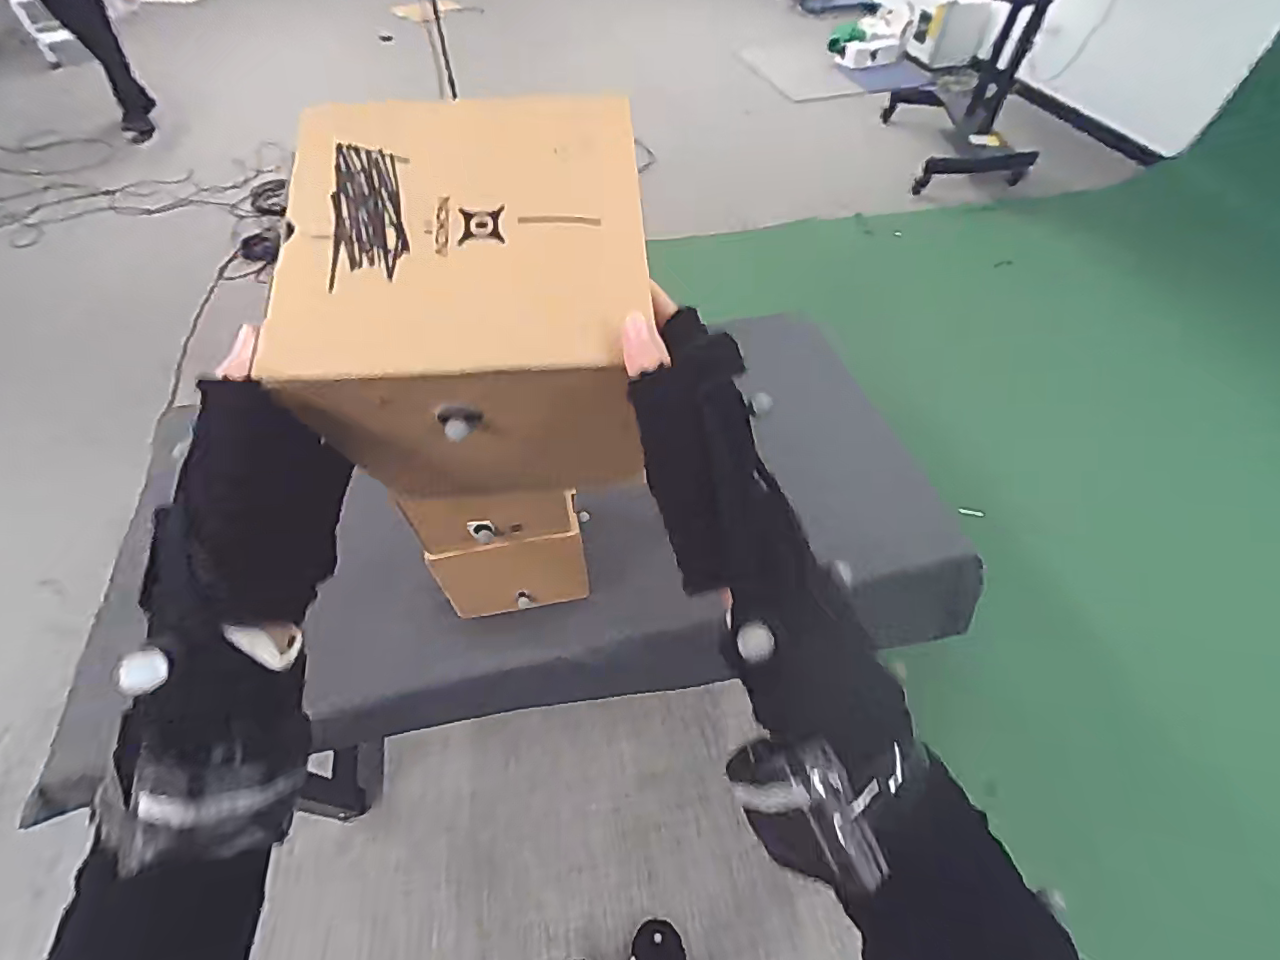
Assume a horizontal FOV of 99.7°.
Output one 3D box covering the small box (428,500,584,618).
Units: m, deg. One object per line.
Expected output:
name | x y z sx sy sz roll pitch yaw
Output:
small box | -0.172 0.068 0.732 0.179 0.176 0.168 -9 53 -8

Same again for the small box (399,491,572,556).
small box | -0.175 -0.039 0.609 0.168 0.176 0.179 -11 54 -7

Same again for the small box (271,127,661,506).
small box | -0.084 -0.086 0.343 0.179 0.176 0.168 -3 71 -4
